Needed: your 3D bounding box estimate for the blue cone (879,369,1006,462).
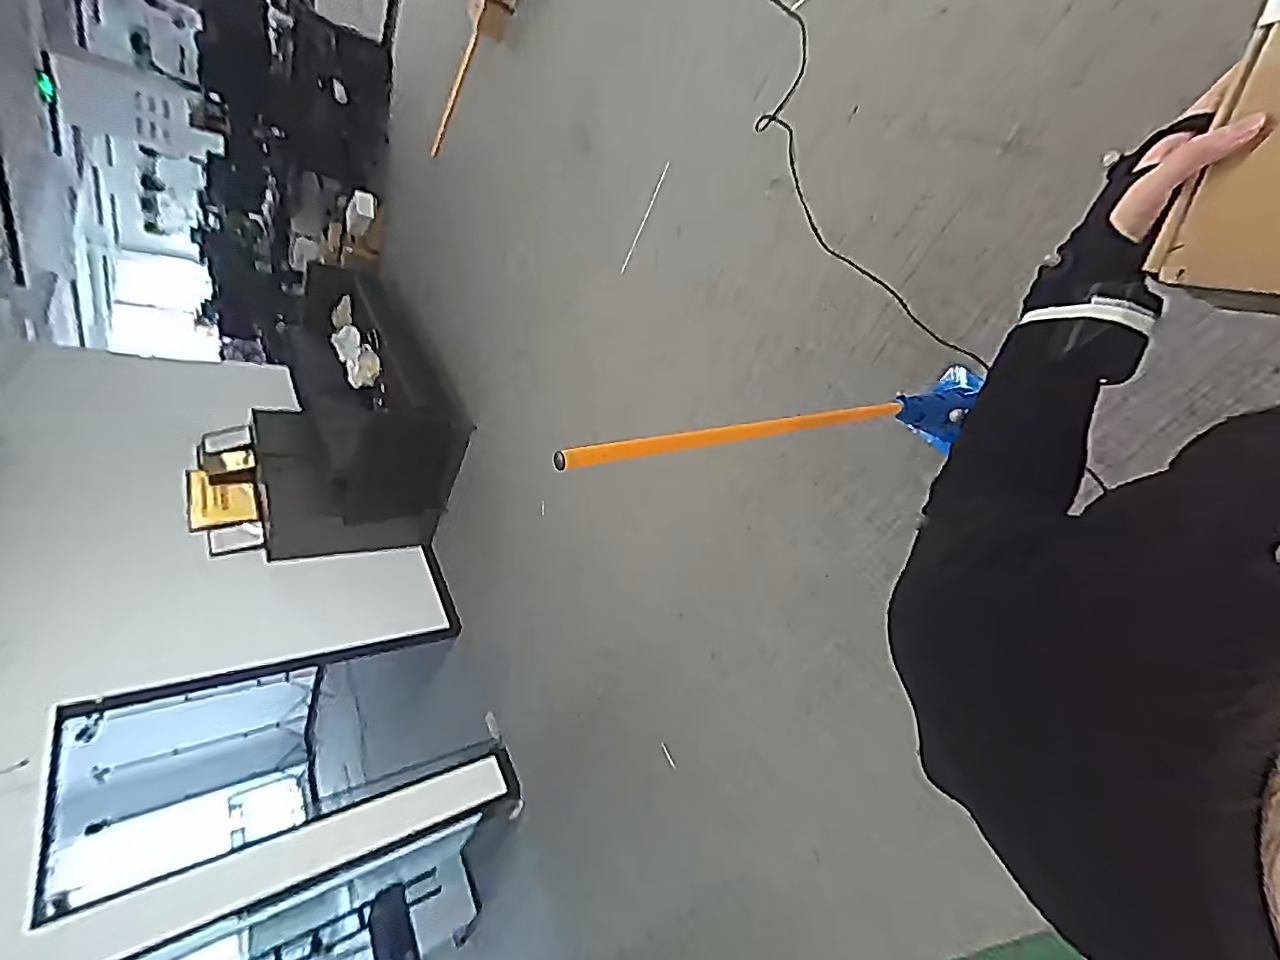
[{"bbox_3d":[0.682,-0.157,1.281,0.192,0.380,0.193,52,129,35],"label":"blue cone"}]
